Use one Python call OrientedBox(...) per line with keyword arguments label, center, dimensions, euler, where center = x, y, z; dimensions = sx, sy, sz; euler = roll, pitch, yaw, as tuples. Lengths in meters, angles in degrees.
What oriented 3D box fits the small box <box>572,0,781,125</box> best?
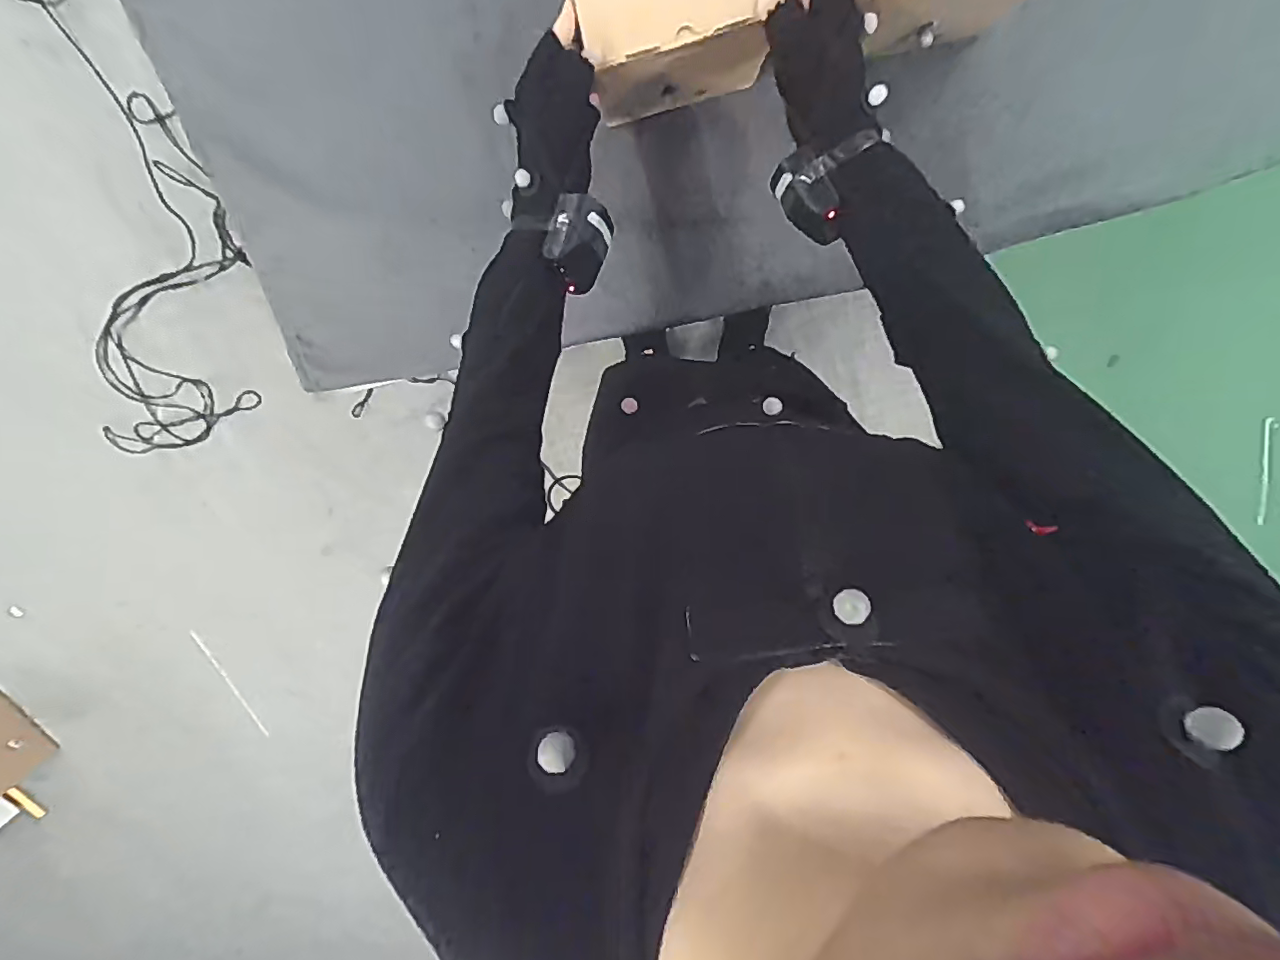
OrientedBox(label="small box", center=(0.018, -0.462, 0.492), dimensions=(0.168, 0.176, 0.179), euler=(-12, 109, 7))
